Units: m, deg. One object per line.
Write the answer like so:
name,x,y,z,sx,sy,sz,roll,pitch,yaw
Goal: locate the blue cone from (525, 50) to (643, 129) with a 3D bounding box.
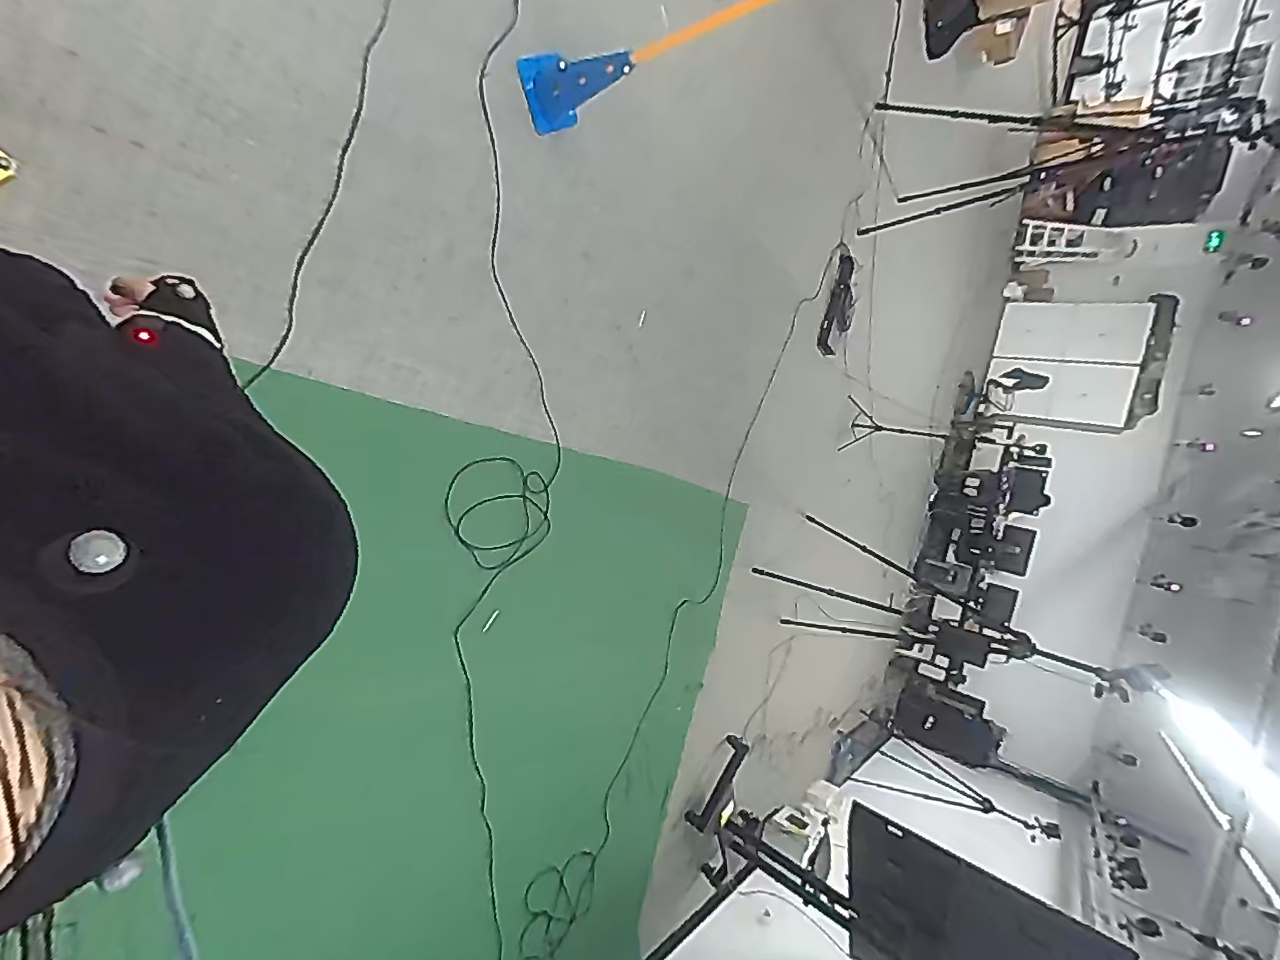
blue cone,-0.150,-1.216,1.617,0.193,0.380,0.192,-47,132,-35
